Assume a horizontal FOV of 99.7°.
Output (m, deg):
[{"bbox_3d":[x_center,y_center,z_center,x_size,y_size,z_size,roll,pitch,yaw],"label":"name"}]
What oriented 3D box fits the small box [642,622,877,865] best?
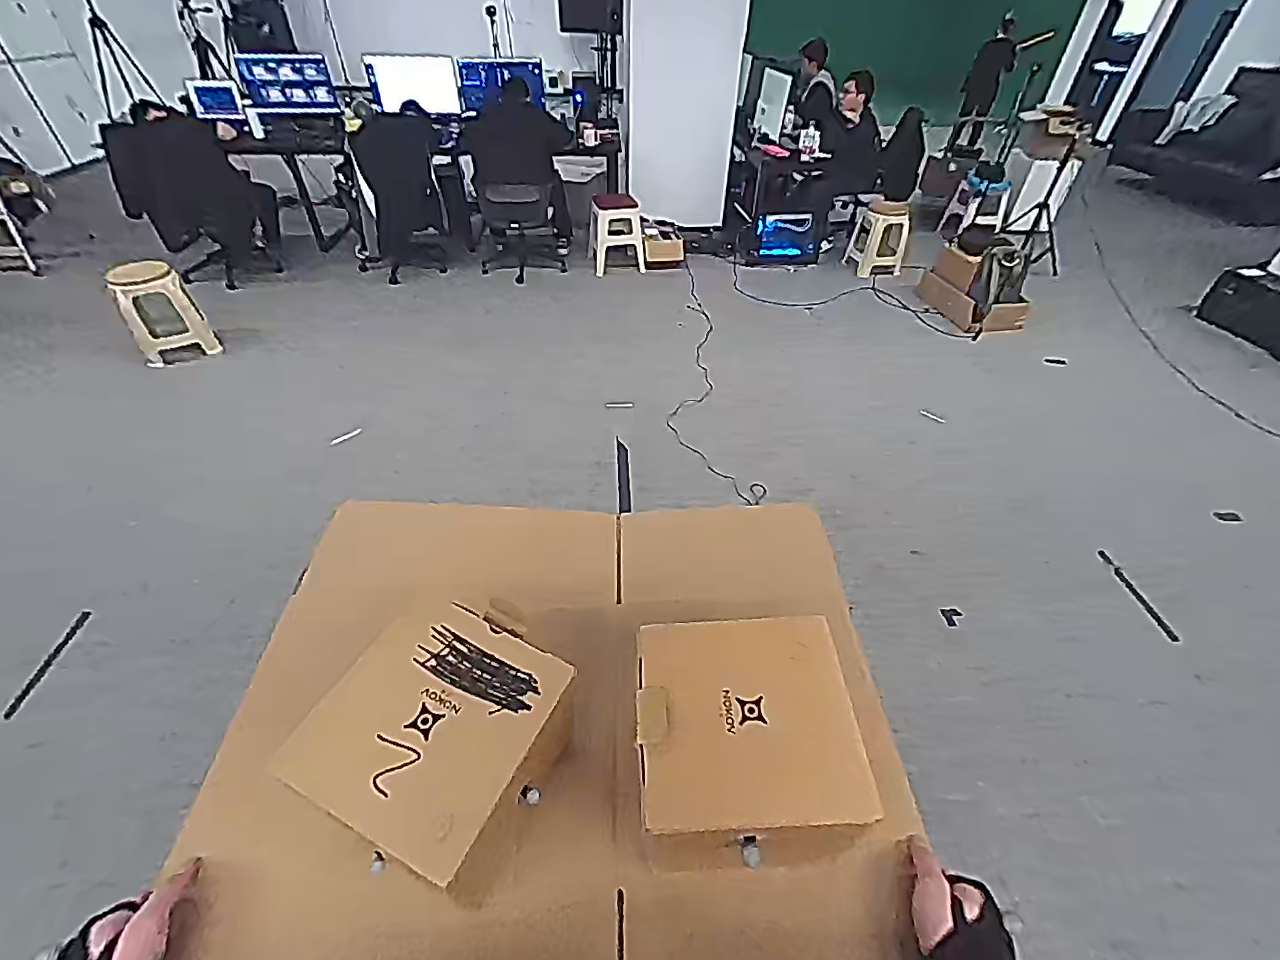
[{"bbox_3d":[0.094,0.253,0.517,0.179,0.176,0.168,-4,46,1],"label":"small box"}]
